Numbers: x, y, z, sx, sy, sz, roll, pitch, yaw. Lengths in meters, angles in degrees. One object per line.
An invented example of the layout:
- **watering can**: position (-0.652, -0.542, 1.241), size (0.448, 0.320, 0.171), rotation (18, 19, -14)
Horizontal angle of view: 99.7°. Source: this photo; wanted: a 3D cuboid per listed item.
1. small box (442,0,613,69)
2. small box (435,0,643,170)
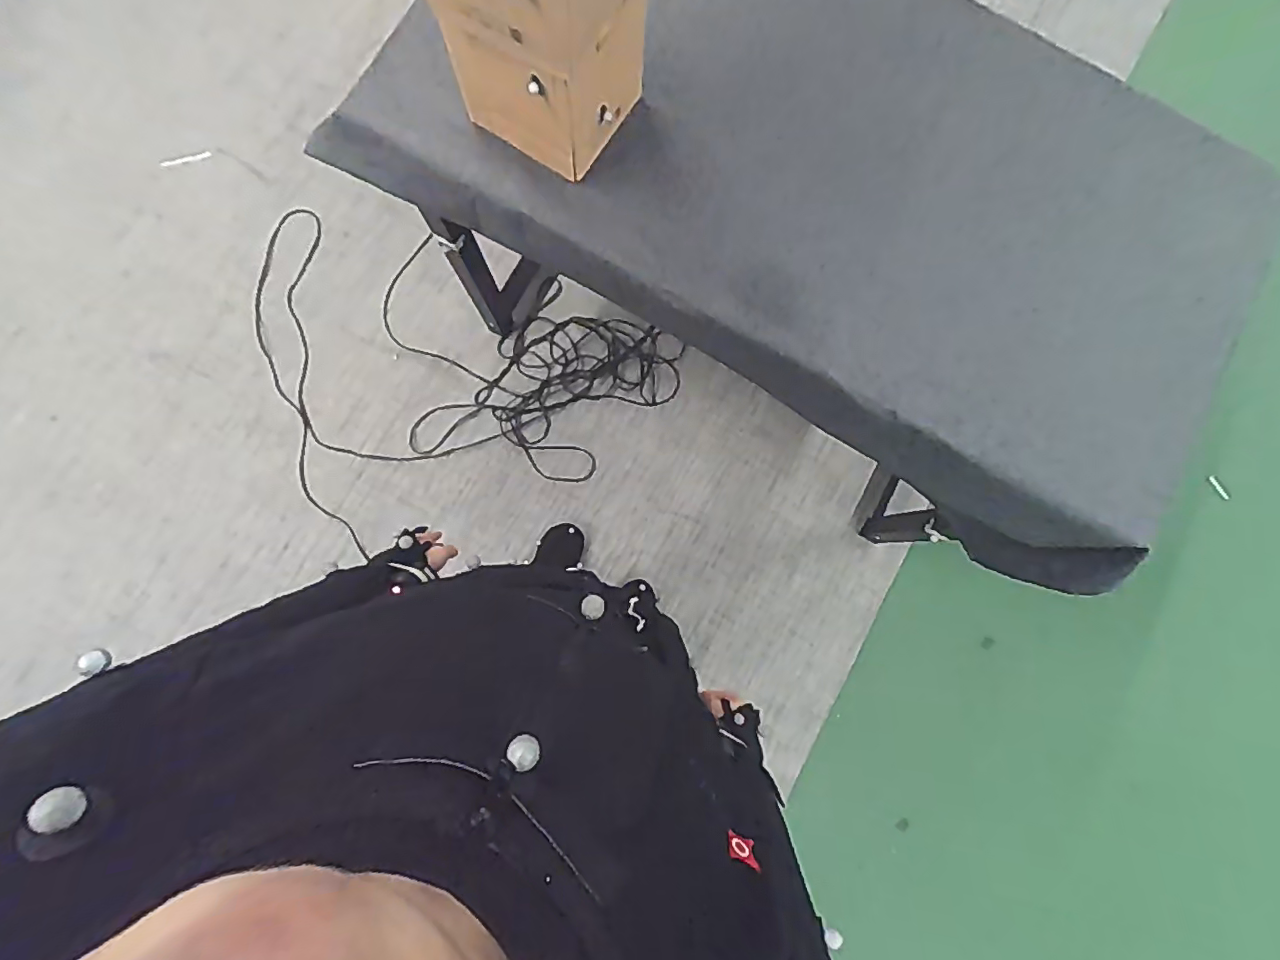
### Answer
- **small box**: position (-0.103, -0.535, 0.491), size (0.168, 0.176, 0.179), rotation (27, 81, -1)
- **small box**: position (-0.114, -0.522, 0.652), size (0.179, 0.176, 0.168), rotation (32, 82, 1)
